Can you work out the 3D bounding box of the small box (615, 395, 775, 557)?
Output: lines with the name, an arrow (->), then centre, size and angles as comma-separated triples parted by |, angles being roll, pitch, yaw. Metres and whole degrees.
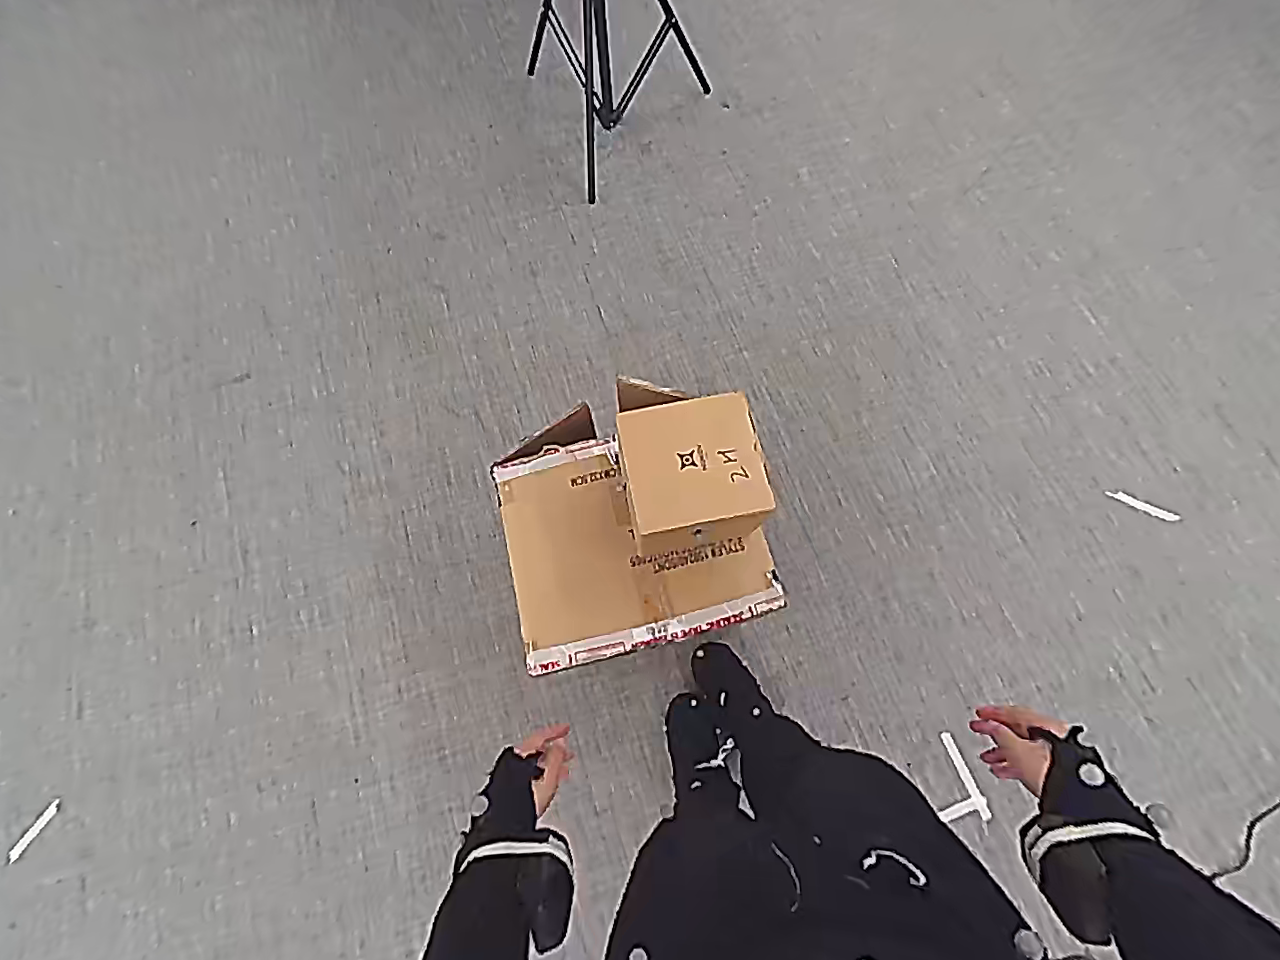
small box -> 0.068, 0.004, 0.758 | 0.179, 0.176, 0.168 | -11, 74, -4
